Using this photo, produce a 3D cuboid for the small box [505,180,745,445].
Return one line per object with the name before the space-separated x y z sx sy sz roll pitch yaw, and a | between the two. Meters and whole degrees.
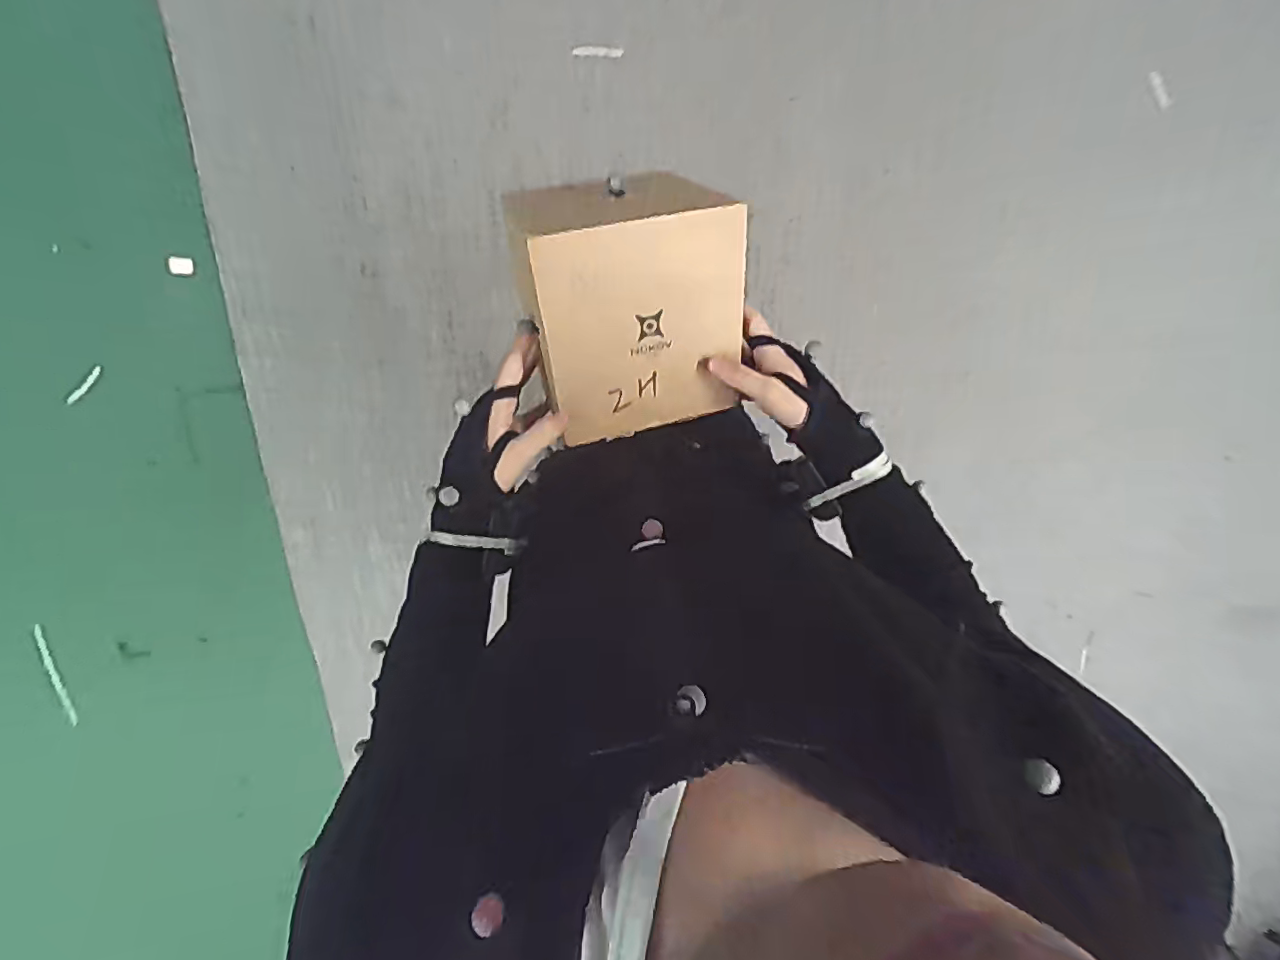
small box | -0.019 -0.163 0.496 0.168 0.176 0.179 -15 131 -11
